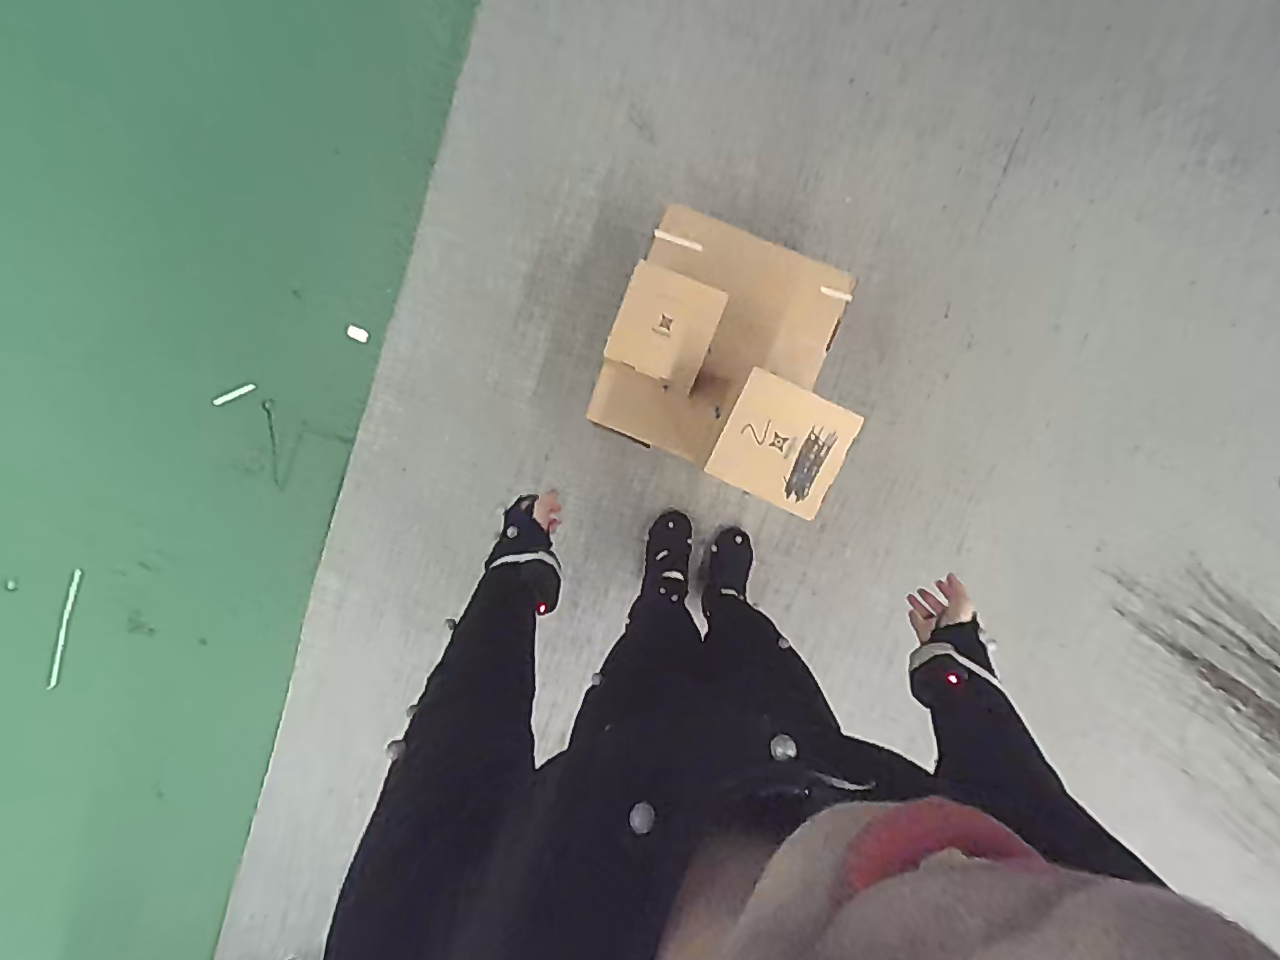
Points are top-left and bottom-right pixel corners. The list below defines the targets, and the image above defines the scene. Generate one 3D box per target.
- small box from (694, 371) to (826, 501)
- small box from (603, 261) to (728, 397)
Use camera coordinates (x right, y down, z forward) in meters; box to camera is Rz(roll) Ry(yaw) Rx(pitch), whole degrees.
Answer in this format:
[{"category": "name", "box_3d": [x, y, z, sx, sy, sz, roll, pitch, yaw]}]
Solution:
[{"category": "small box", "box_3d": [0.209, -0.079, 1.000, 0.168, 0.176, 0.179, 25, 94, 0]}, {"category": "small box", "box_3d": [0.048, -0.264, 0.994, 0.168, 0.176, 0.179, 22, 94, 0]}]
